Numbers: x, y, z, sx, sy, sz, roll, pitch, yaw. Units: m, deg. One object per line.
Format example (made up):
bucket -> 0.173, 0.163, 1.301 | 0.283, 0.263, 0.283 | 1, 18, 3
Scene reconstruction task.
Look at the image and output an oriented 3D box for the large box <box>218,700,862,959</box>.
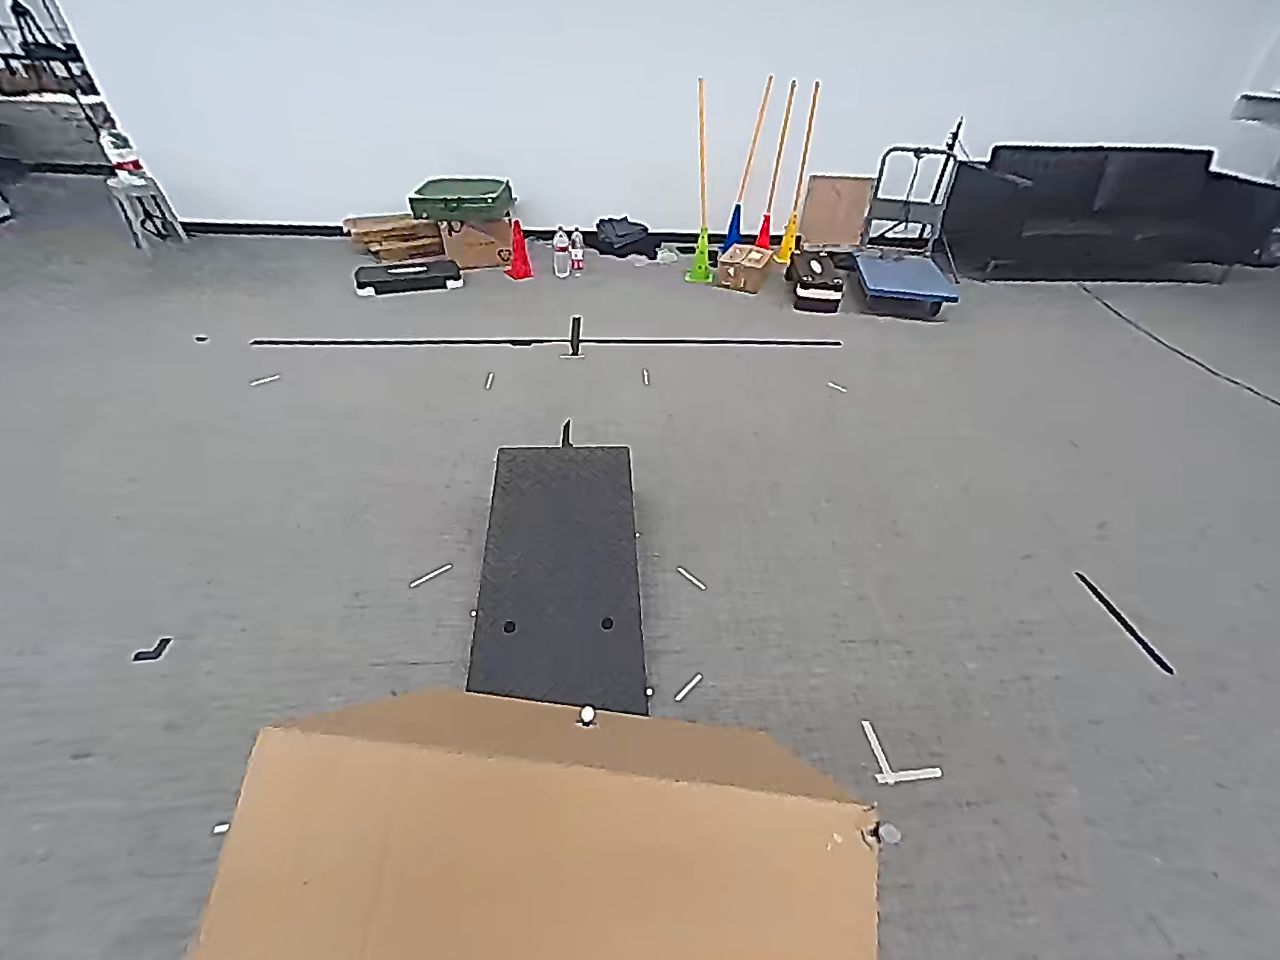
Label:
large box -> -0.070, 0.382, 0.464 | 0.408, 0.320, 0.320 | 7, 75, 1
